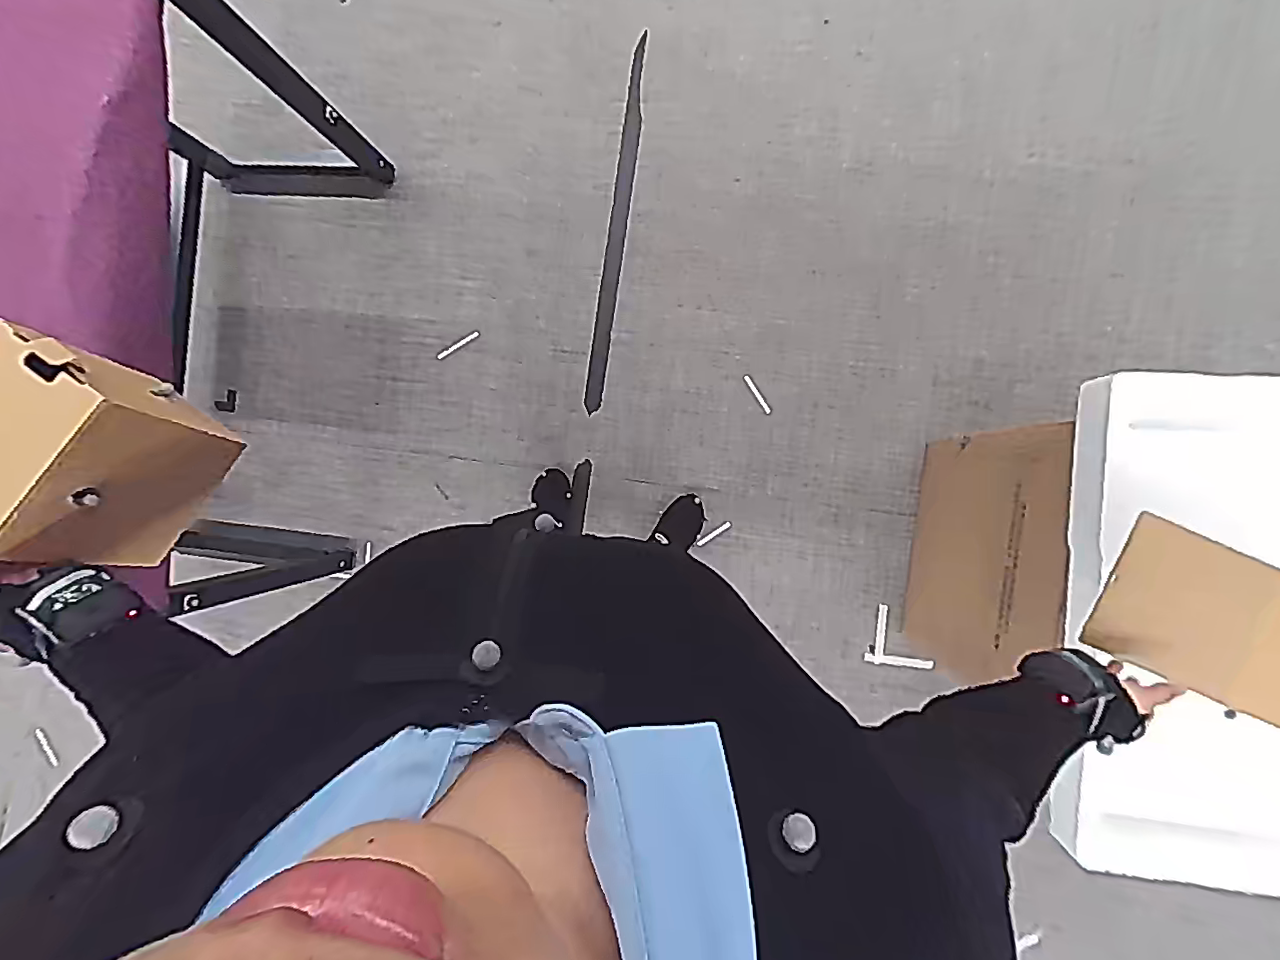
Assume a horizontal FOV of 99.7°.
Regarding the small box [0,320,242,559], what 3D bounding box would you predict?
[{"bbox_3d":[-0.594,-0.029,0.584,0.168,0.176,0.179,32,82,11],"label":"small box"}]
